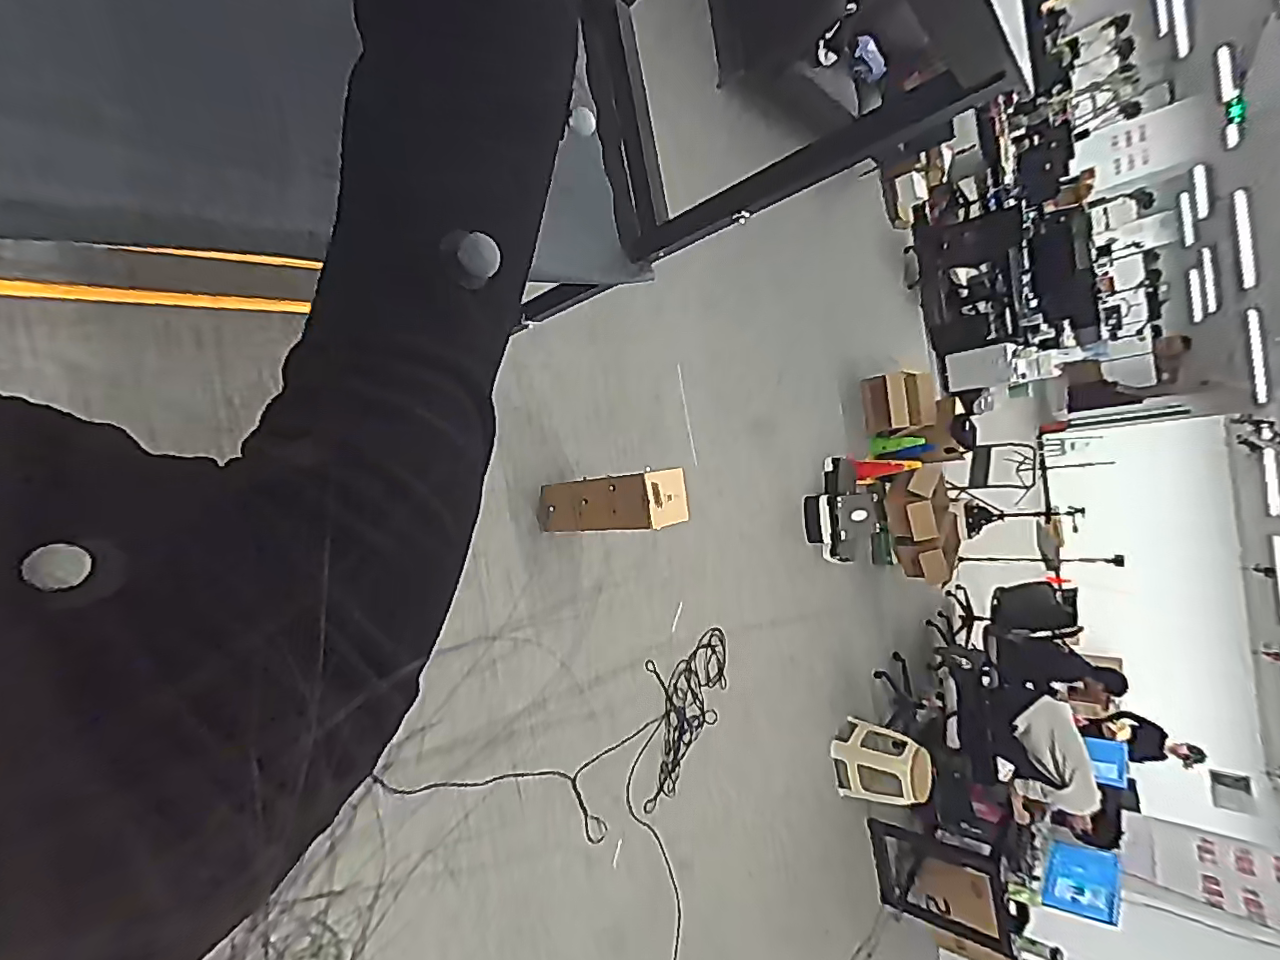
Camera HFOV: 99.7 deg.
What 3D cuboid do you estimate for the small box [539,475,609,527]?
[{"bbox_3d":[-0.229,0.073,1.885,0.179,0.176,0.168,-5,89,-47],"label":"small box"}]

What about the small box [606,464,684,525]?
[{"bbox_3d":[0.008,0.045,1.662,0.179,0.176,0.168,-9,92,-47],"label":"small box"}]
